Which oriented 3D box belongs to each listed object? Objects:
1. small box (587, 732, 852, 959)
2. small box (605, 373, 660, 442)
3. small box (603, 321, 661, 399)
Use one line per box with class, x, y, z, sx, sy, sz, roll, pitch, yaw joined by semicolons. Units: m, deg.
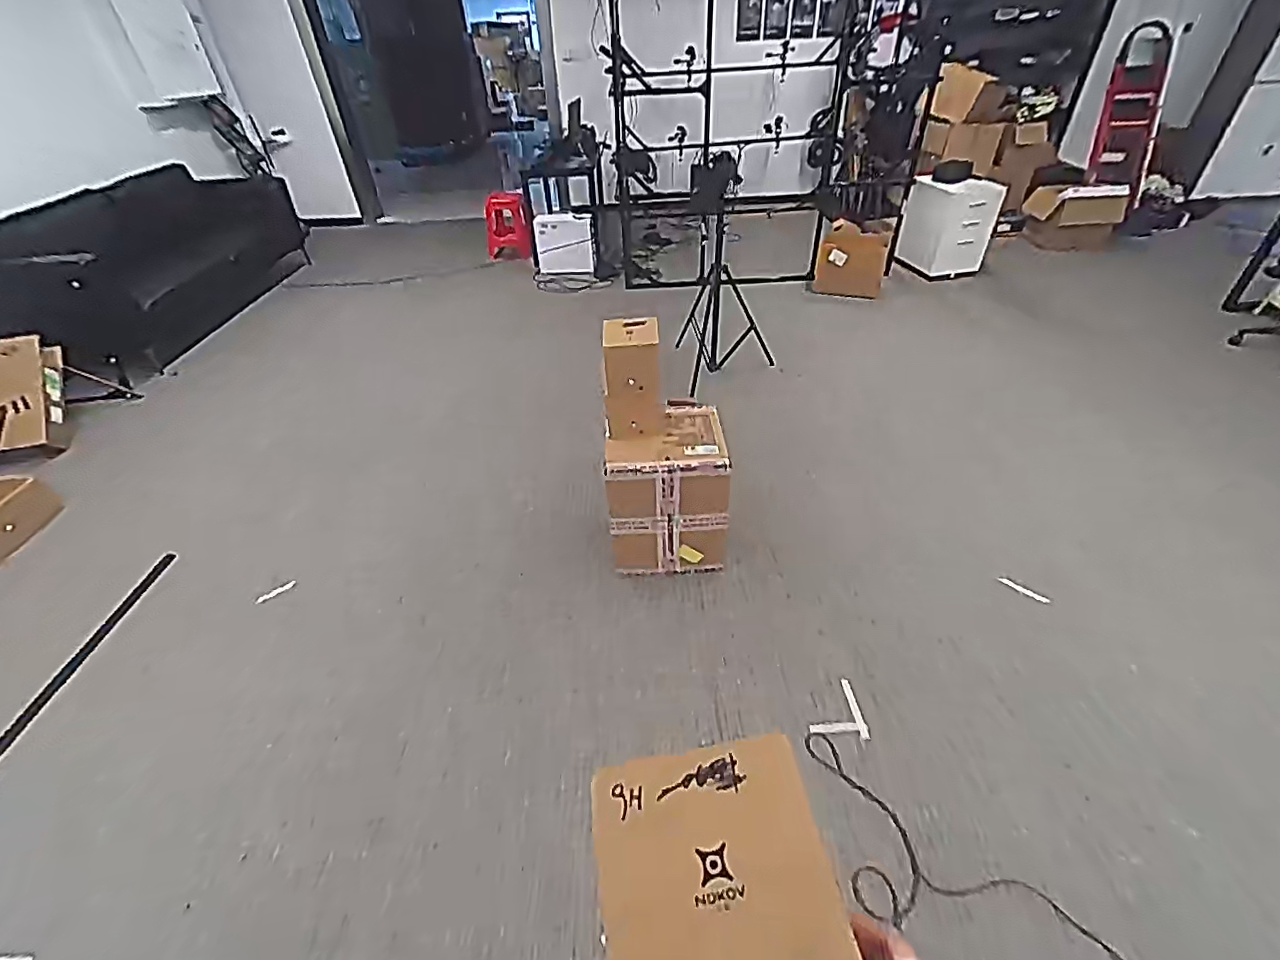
small box;0.057;0.336;0.446;0.168;0.176;0.179;-10;48;-3
small box;-0.026;-0.245;1.769;0.168;0.176;0.179;-6;41;-1
small box;-0.022;-0.368;1.658;0.168;0.176;0.179;-4;42;2
